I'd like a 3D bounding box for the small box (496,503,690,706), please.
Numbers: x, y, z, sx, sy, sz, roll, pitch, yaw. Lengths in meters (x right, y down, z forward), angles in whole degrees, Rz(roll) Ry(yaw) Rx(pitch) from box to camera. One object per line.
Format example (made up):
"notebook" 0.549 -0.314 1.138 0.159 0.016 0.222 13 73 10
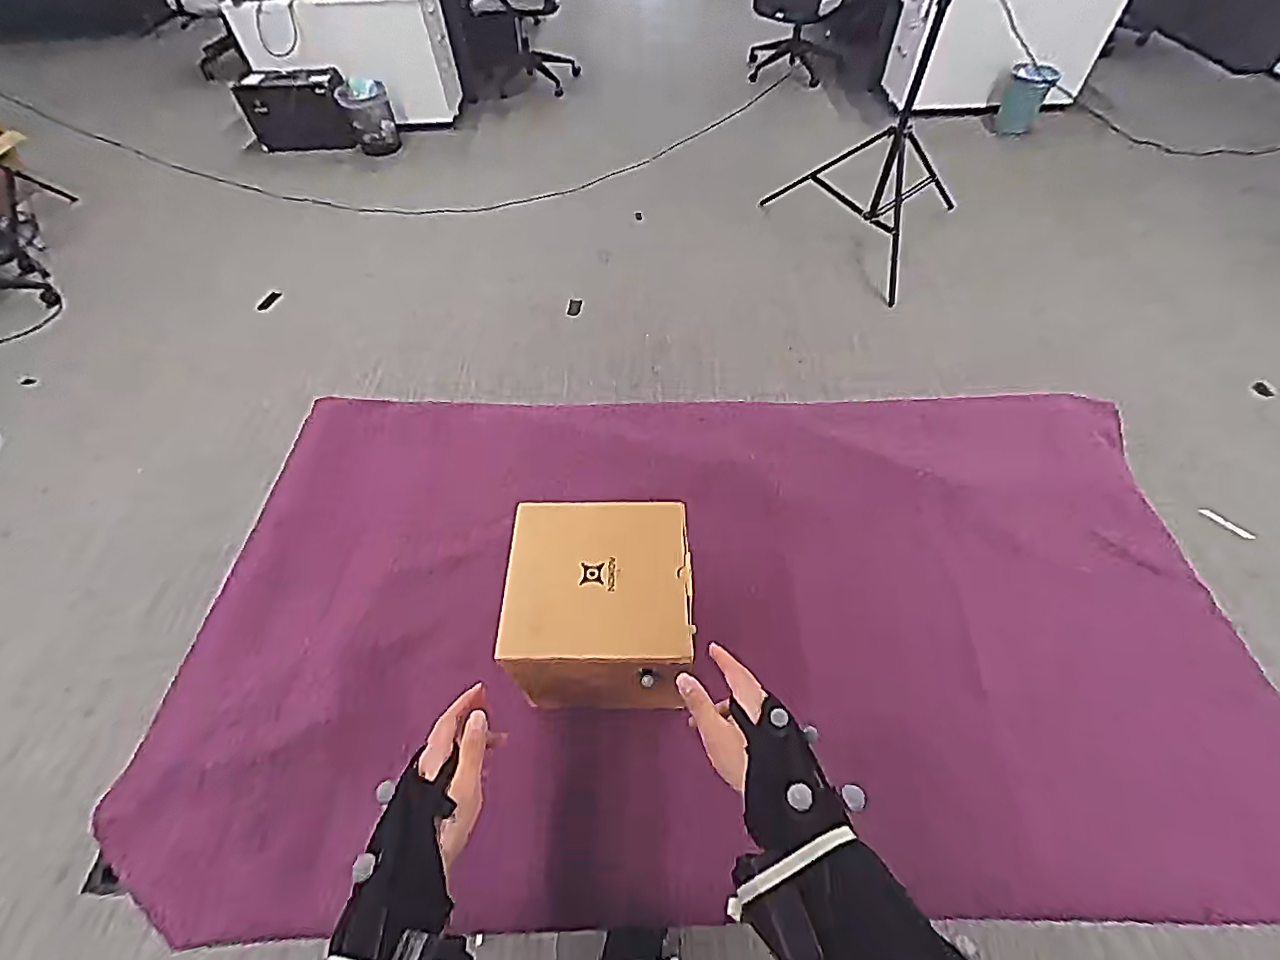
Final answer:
"small box" -0.039 0.139 0.585 0.179 0.176 0.168 0 53 1
